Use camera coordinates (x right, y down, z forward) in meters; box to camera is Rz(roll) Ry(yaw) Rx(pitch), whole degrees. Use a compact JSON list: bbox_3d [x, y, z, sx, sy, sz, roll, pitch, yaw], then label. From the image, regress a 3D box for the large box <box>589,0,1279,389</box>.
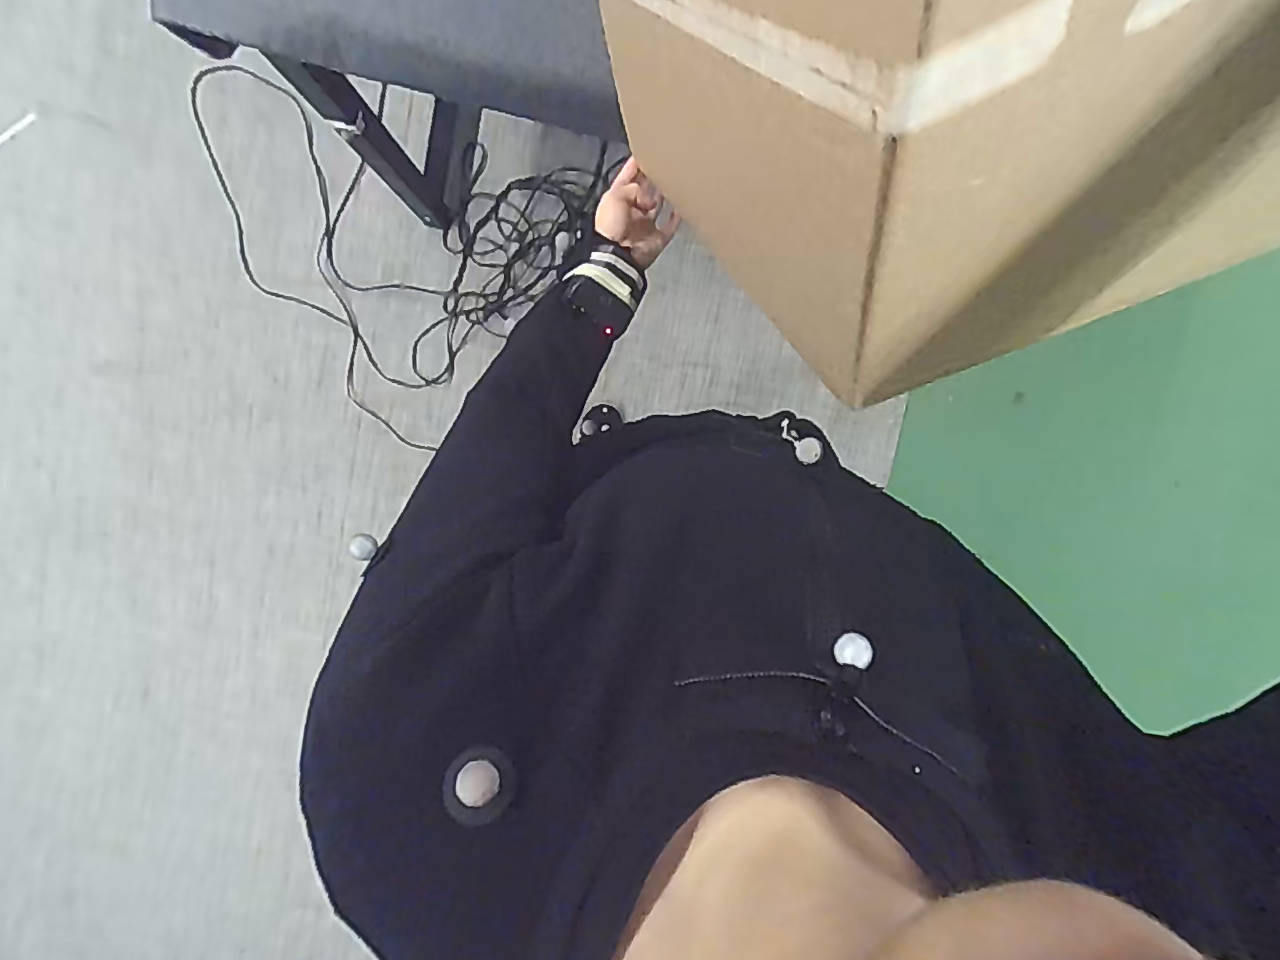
[{"bbox_3d":[0.163,-0.331,0.313,0.320,0.320,0.408,-23,53,-4],"label":"large box"}]
